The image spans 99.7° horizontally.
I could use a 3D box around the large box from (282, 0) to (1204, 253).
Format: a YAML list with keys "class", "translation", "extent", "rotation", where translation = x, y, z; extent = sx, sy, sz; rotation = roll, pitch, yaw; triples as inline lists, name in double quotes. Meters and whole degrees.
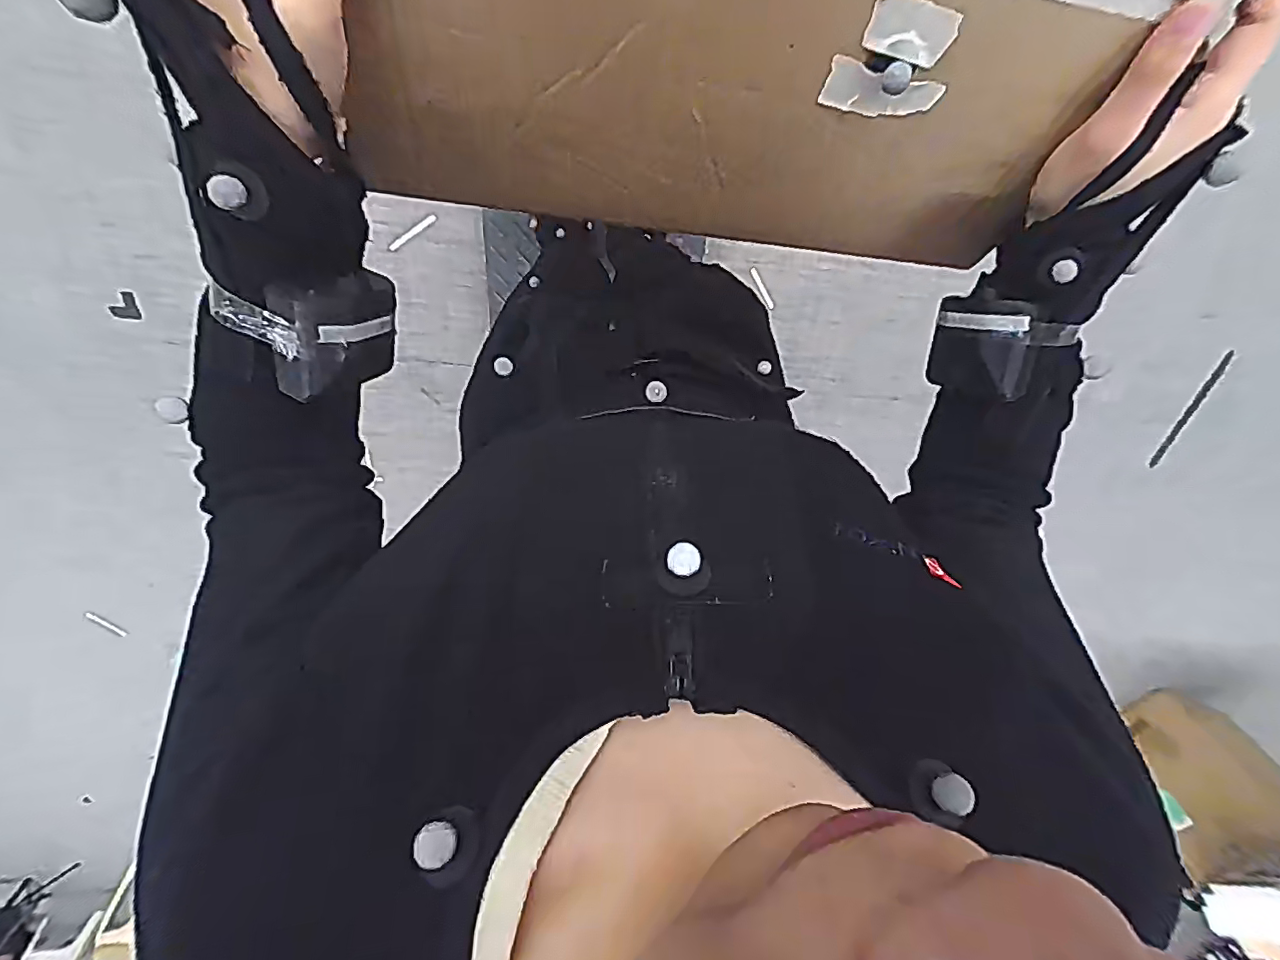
- class: "large box"
  translation: [0.046, -0.356, 0.262]
  extent: [0.408, 0.320, 0.320]
  rotation: [0, 158, -12]
